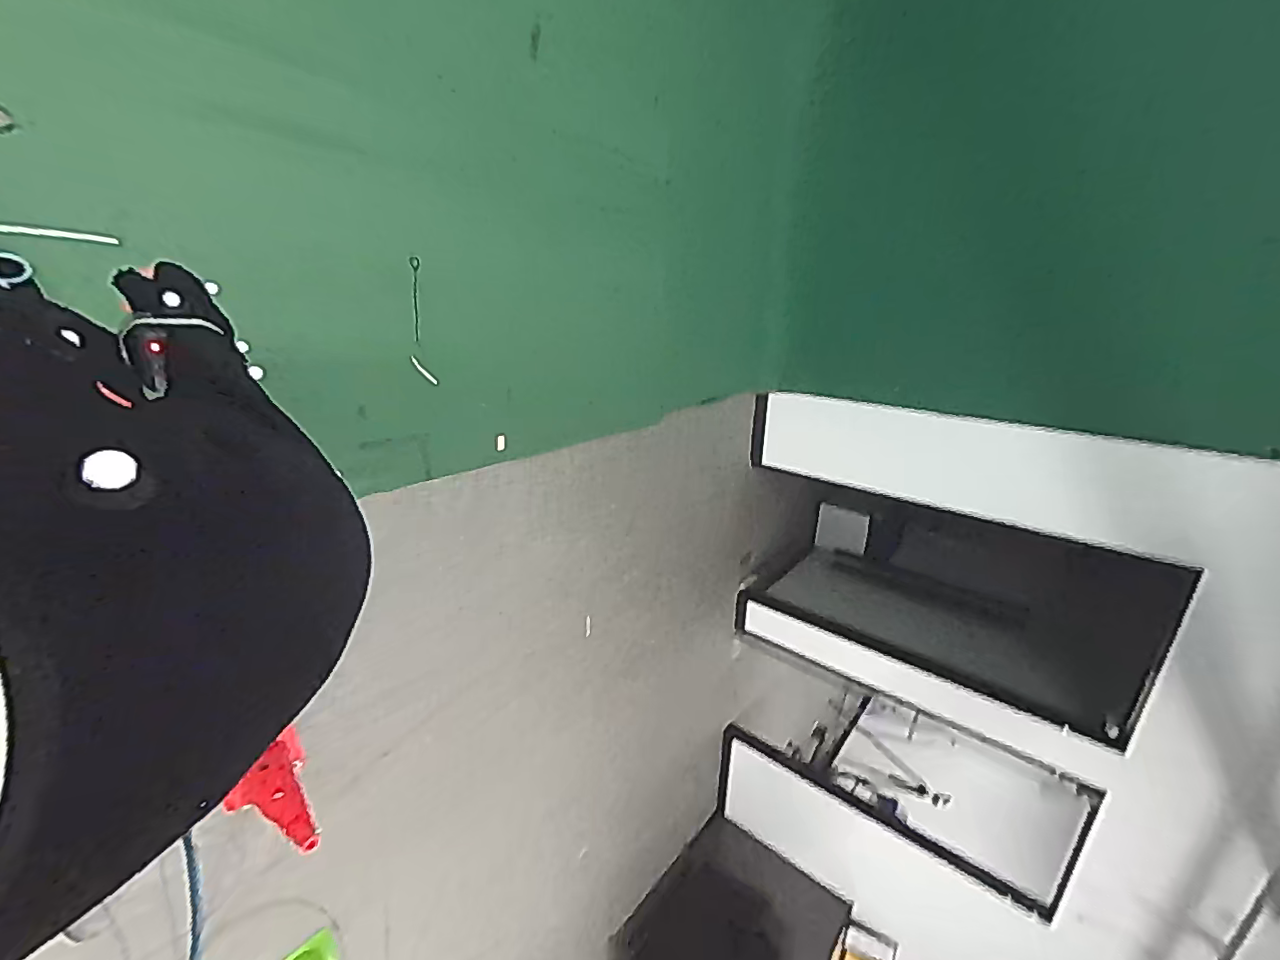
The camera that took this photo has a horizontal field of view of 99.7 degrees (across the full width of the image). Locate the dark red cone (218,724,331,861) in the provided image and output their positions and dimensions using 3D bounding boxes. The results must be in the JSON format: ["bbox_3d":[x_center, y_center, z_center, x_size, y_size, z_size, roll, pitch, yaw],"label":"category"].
[{"bbox_3d":[-0.885,0.824,1.377,0.202,0.394,0.201,-27,123,-44],"label":"dark red cone"}]

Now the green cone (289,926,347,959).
[{"bbox_3d":[-0.942,1.624,1.652,0.202,0.368,0.200,-22,119,-45],"label":"green cone"}]
